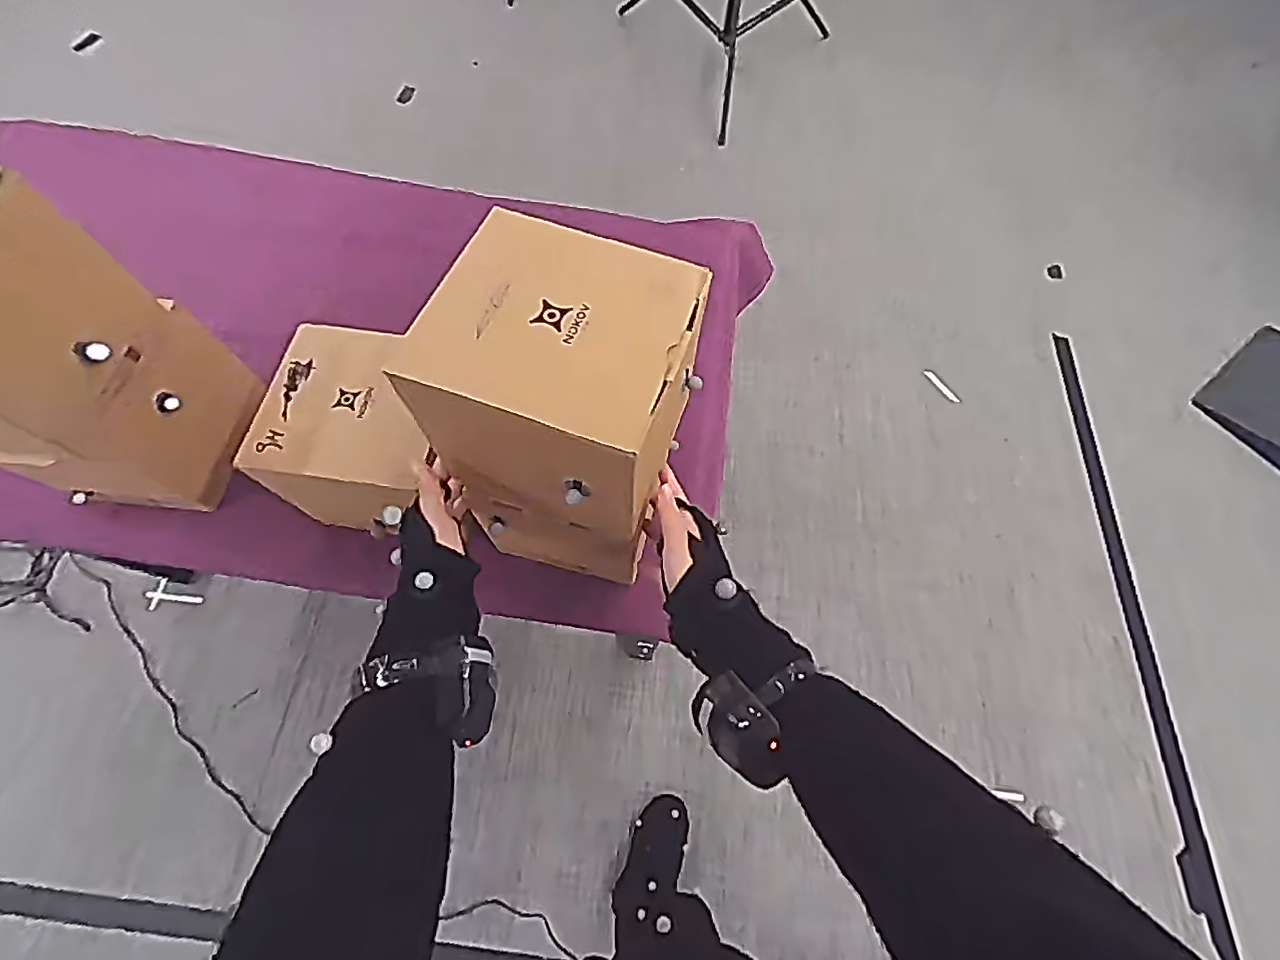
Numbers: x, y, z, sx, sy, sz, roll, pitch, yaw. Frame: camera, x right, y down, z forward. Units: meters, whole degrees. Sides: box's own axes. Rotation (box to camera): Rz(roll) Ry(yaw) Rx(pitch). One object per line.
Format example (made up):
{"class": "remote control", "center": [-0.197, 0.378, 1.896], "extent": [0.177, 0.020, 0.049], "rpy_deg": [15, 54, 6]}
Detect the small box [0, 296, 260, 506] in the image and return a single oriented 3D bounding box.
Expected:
{"class": "small box", "center": [-0.566, -0.082, 0.592], "extent": [0.168, 0.176, 0.179], "rpy_deg": [5, 66, -1]}

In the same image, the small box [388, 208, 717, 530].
{"class": "small box", "center": [-0.054, -0.075, 0.435], "extent": [0.179, 0.176, 0.168], "rpy_deg": [18, 65, 7]}

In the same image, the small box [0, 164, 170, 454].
{"class": "small box", "center": [-0.555, -0.134, 0.435], "extent": [0.179, 0.176, 0.168], "rpy_deg": [8, 67, 0]}
